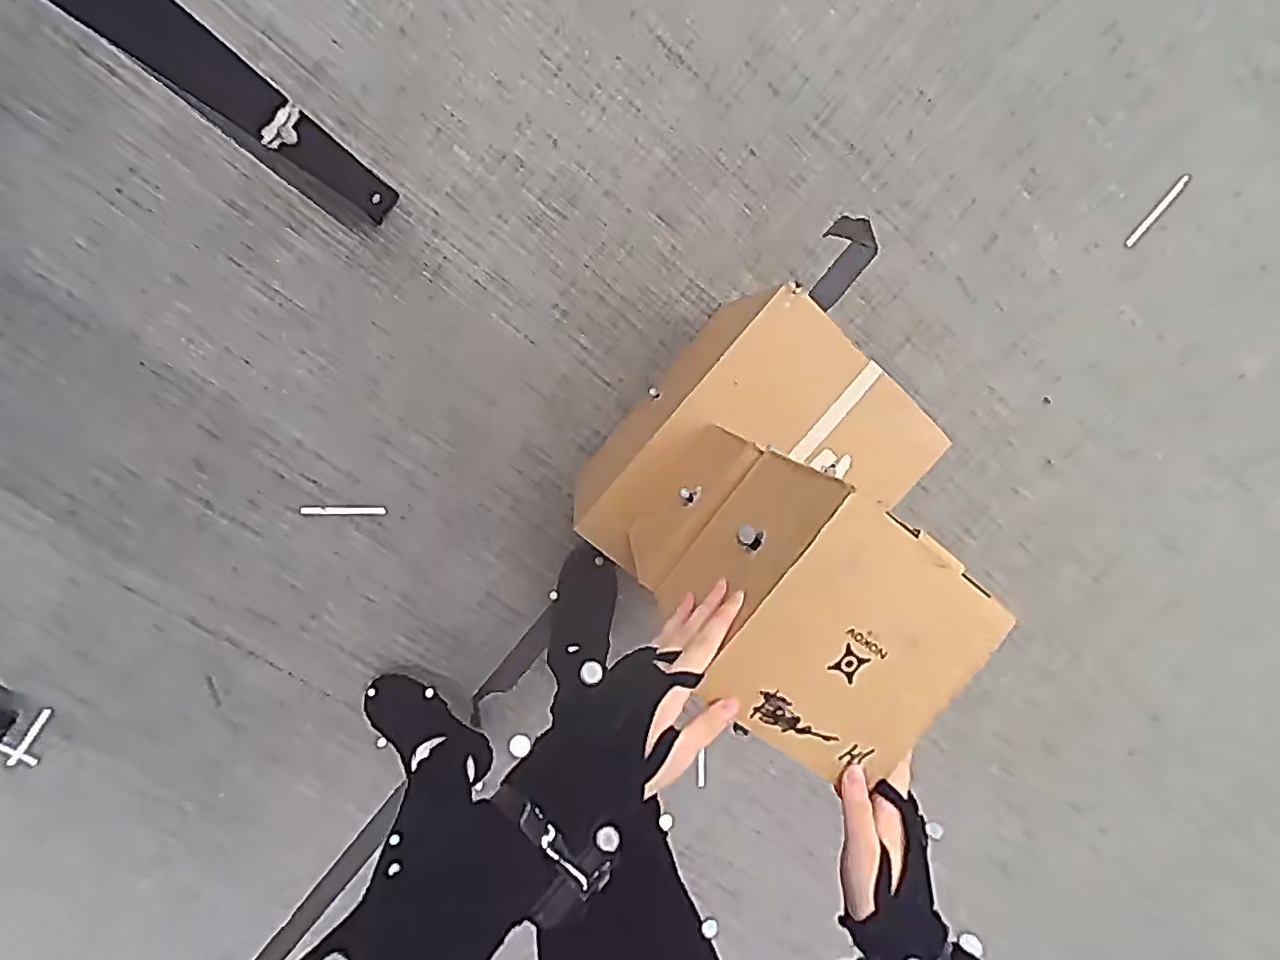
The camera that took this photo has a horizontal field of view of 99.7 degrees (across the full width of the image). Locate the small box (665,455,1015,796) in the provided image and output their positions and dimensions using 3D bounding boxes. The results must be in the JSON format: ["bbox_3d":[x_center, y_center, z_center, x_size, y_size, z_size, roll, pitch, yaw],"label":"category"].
[{"bbox_3d":[0.138,0.098,0.443,0.168,0.176,0.179,37,95,-12],"label":"small box"}]

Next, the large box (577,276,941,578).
[{"bbox_3d":[0.141,-0.030,0.838,0.320,0.320,0.408,39,95,-14],"label":"large box"}]

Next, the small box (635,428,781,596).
[{"bbox_3d":[0.107,0.059,0.602,0.168,0.176,0.179,38,96,-11],"label":"small box"}]
